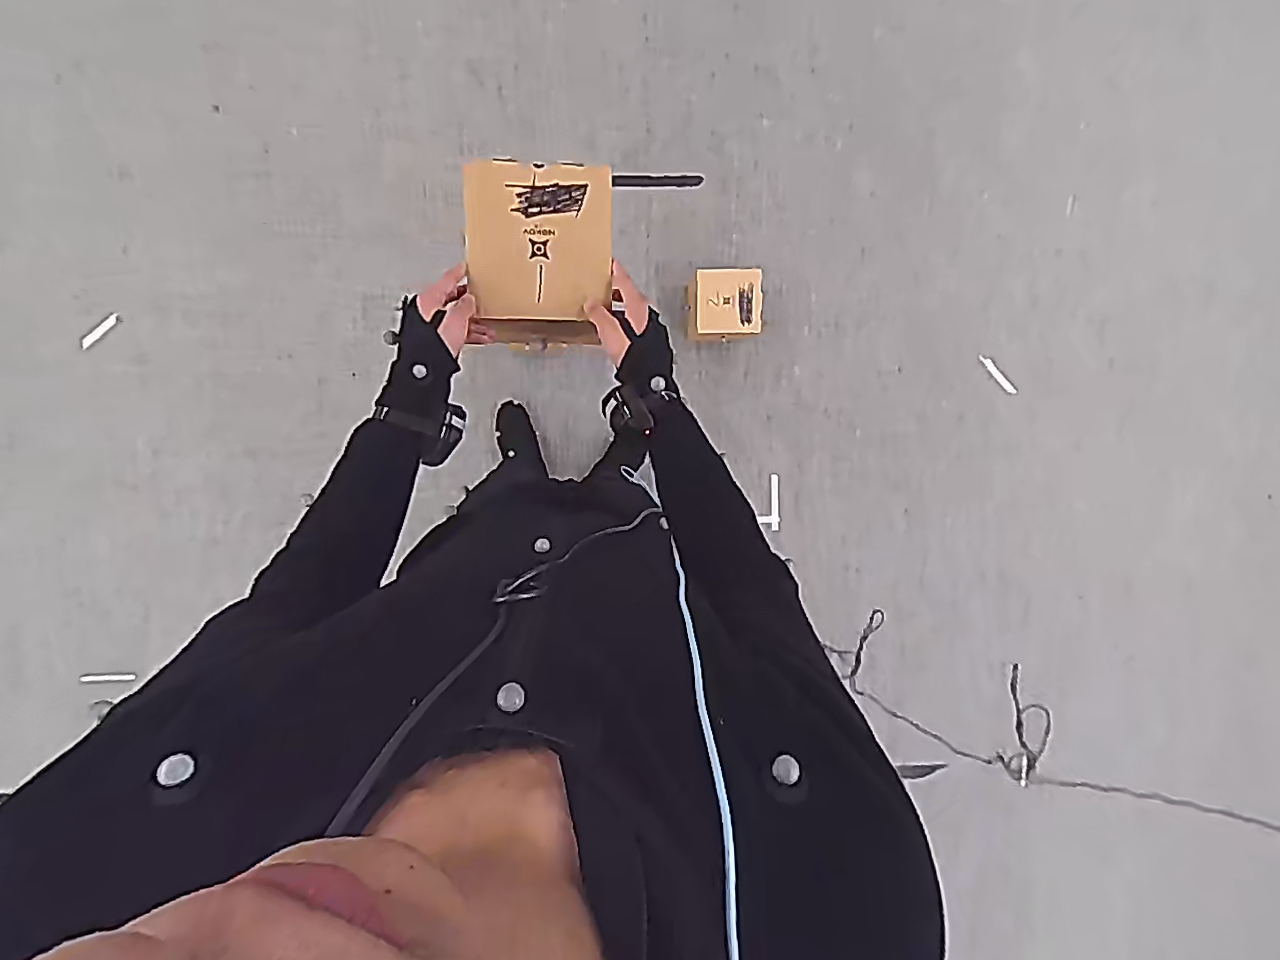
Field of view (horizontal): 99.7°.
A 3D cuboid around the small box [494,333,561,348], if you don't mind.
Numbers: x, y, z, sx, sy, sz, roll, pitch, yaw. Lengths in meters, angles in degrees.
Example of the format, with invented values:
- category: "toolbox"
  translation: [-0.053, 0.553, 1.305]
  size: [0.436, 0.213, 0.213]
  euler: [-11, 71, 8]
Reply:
- category: "small box"
  translation: [-0.300, -0.455, 1.482]
  size: [0.179, 0.176, 0.168]
  euler: [-2, 98, -2]

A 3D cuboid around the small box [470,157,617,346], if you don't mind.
- category: "small box"
  translation: [-0.118, -0.275, 0.689]
  size: [0.168, 0.176, 0.179]
  euler: [0, 96, -7]
